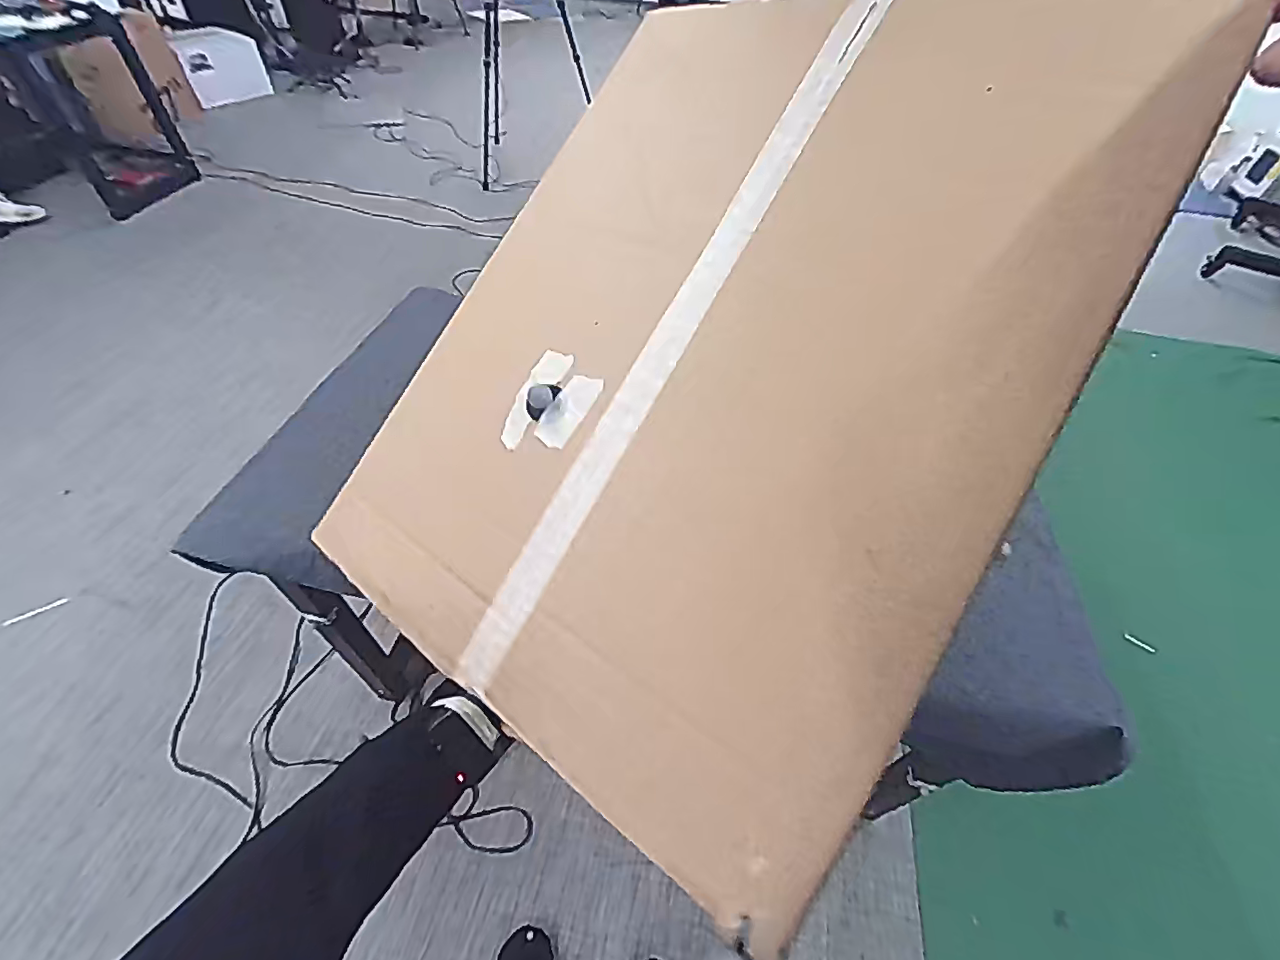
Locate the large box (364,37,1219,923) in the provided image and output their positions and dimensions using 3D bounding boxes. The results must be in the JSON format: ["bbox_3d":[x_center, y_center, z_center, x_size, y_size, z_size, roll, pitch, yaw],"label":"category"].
[{"bbox_3d":[0.094,-0.026,0.416,0.320,0.320,0.408,27,85,29],"label":"large box"}]
